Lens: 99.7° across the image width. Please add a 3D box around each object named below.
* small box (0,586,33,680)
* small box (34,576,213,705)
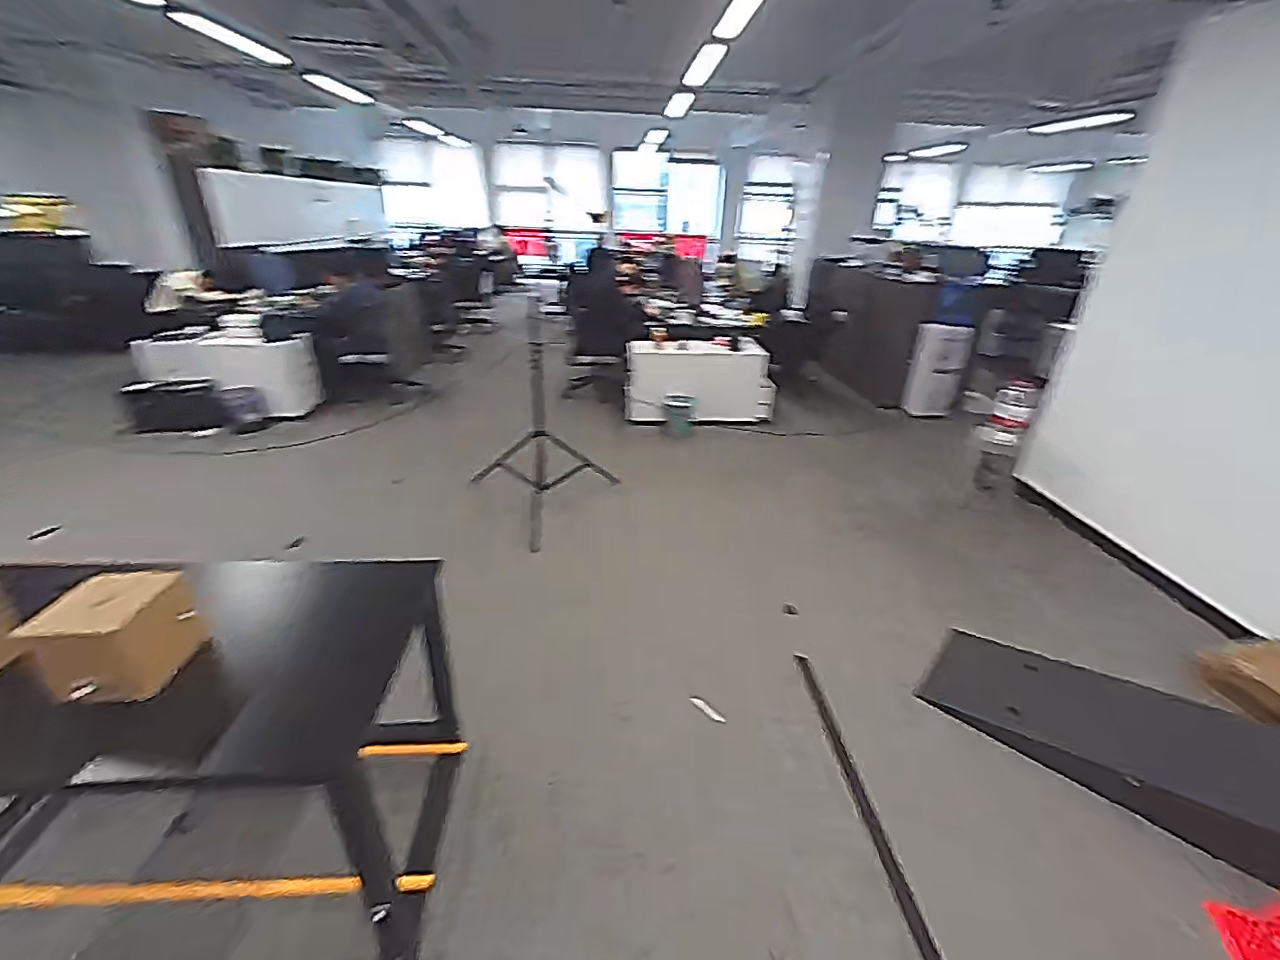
[{"bbox_3d":[-1.316,0.316,1.011,0.168,0.176,0.179,0,26,-2],"label":"small box"},{"bbox_3d":[-0.980,0.307,1.051,0.168,0.176,0.179,-2,27,-4],"label":"small box"}]
